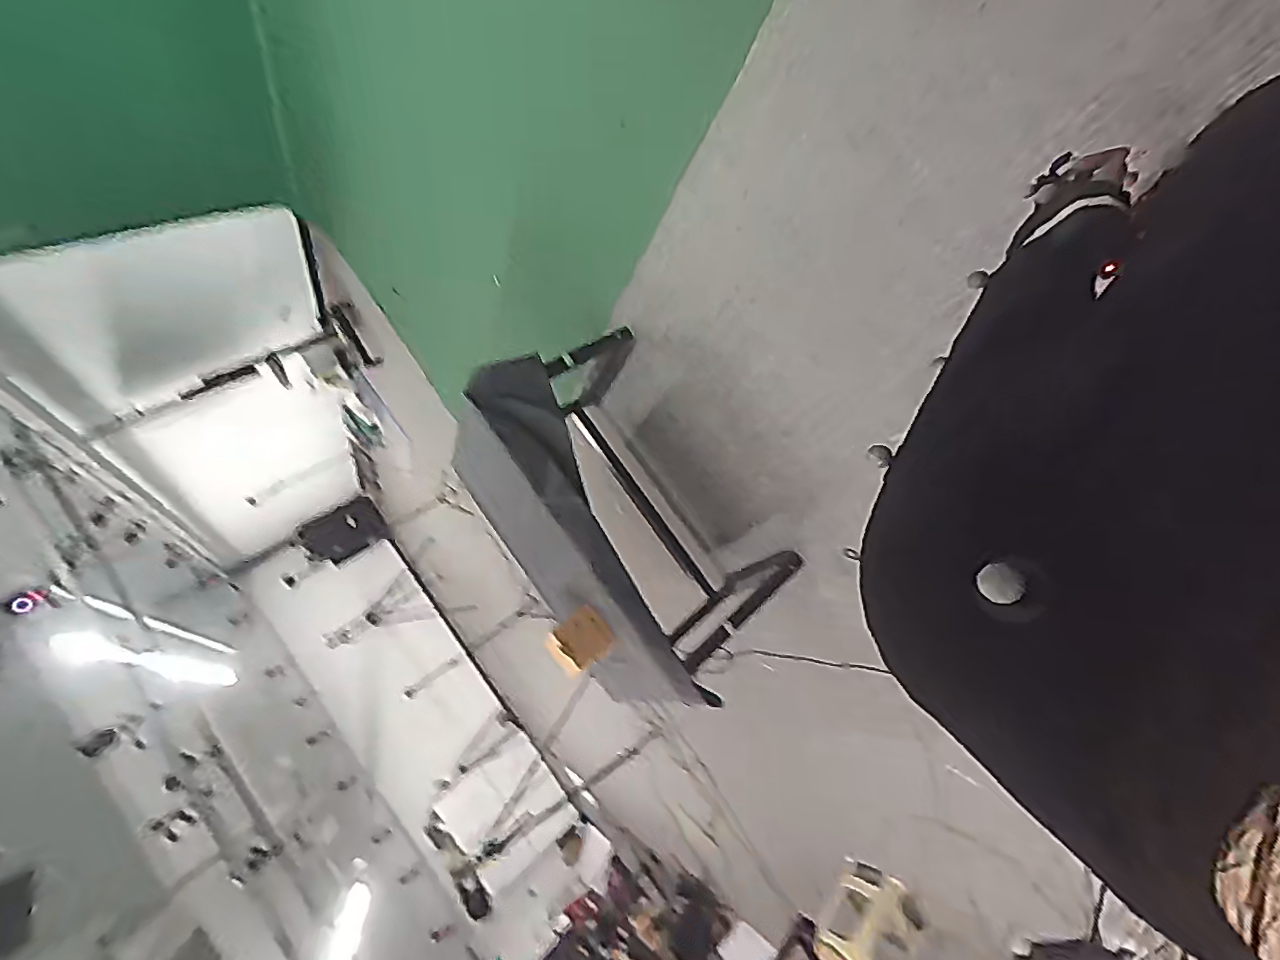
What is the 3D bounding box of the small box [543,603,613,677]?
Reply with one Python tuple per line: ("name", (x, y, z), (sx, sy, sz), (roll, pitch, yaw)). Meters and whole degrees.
("small box", (-0.216, 0.558, 1.899), (0.168, 0.176, 0.179), (50, 150, 15))
